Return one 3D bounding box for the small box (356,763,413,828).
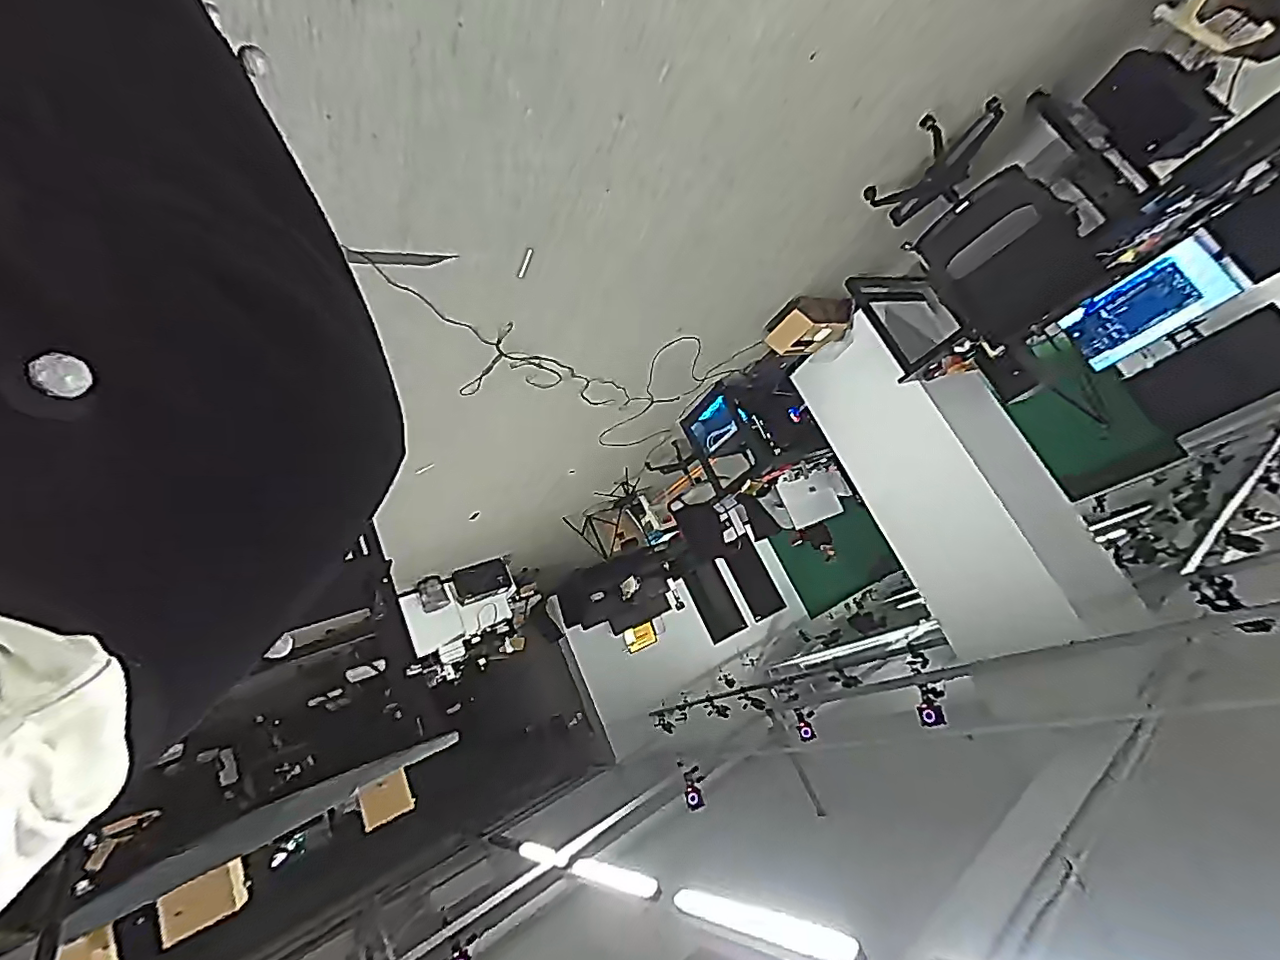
[{"bbox_3d":[-1.037,1.270,2.182,0.179,0.176,0.168,-15,161,-33],"label":"small box"}]

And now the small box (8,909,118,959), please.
[{"bbox_3d":[-1.575,1.321,1.472,0.168,0.176,0.179,-16,164,-33],"label":"small box"}]

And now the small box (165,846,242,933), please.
[{"bbox_3d":[-1.499,1.397,1.859,0.168,0.176,0.179,-16,162,-35],"label":"small box"}]
